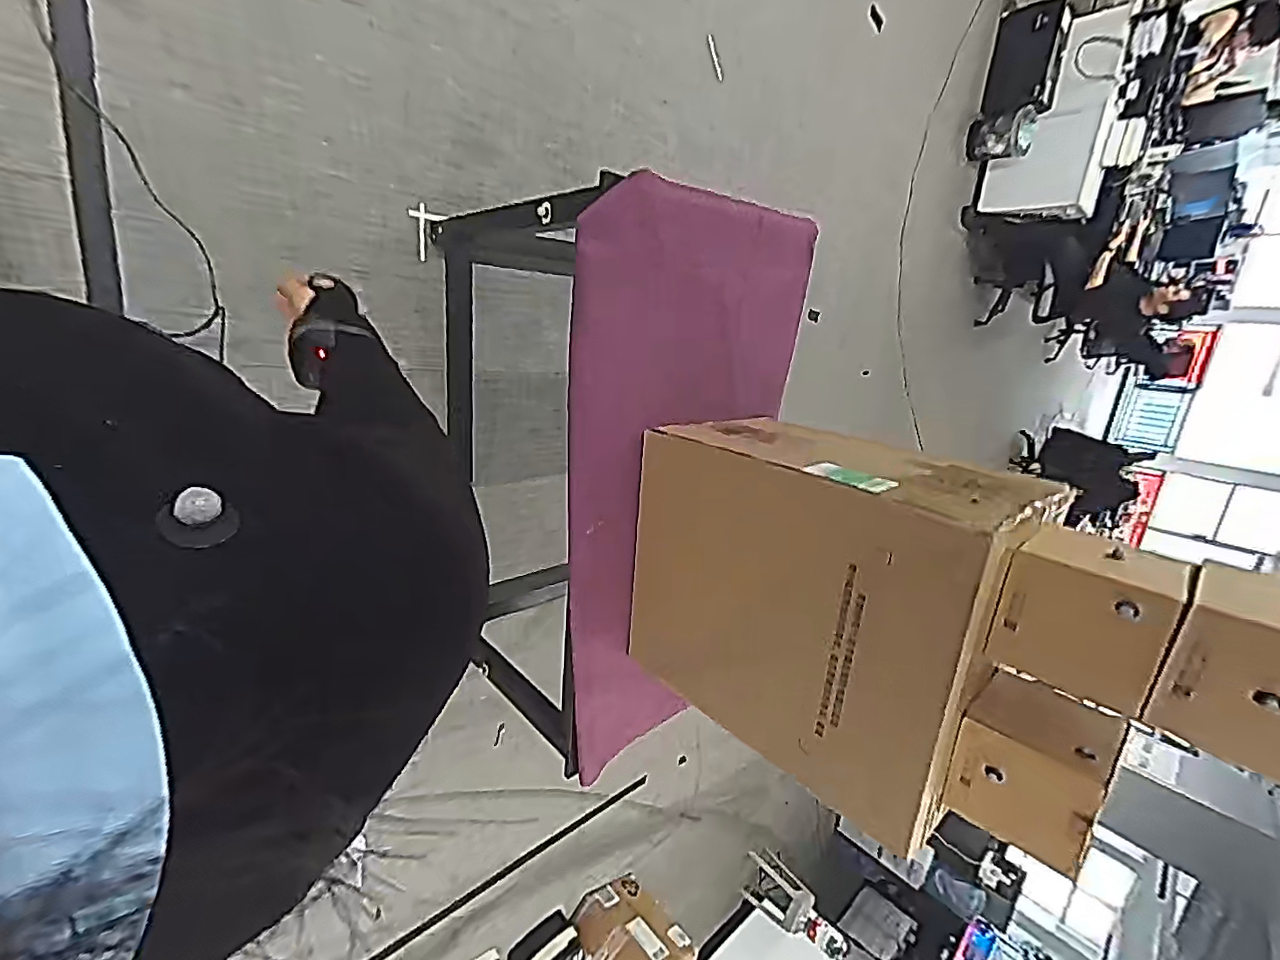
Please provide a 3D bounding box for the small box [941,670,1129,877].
[{"bbox_3d":[0.578,0.413,0.799,0.179,0.176,0.168,-13,113,-40],"label":"small box"}]

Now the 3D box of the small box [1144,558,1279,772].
[{"bbox_3d":[0.710,0.211,0.612,0.179,0.176,0.168,-16,117,-40],"label":"small box"}]
